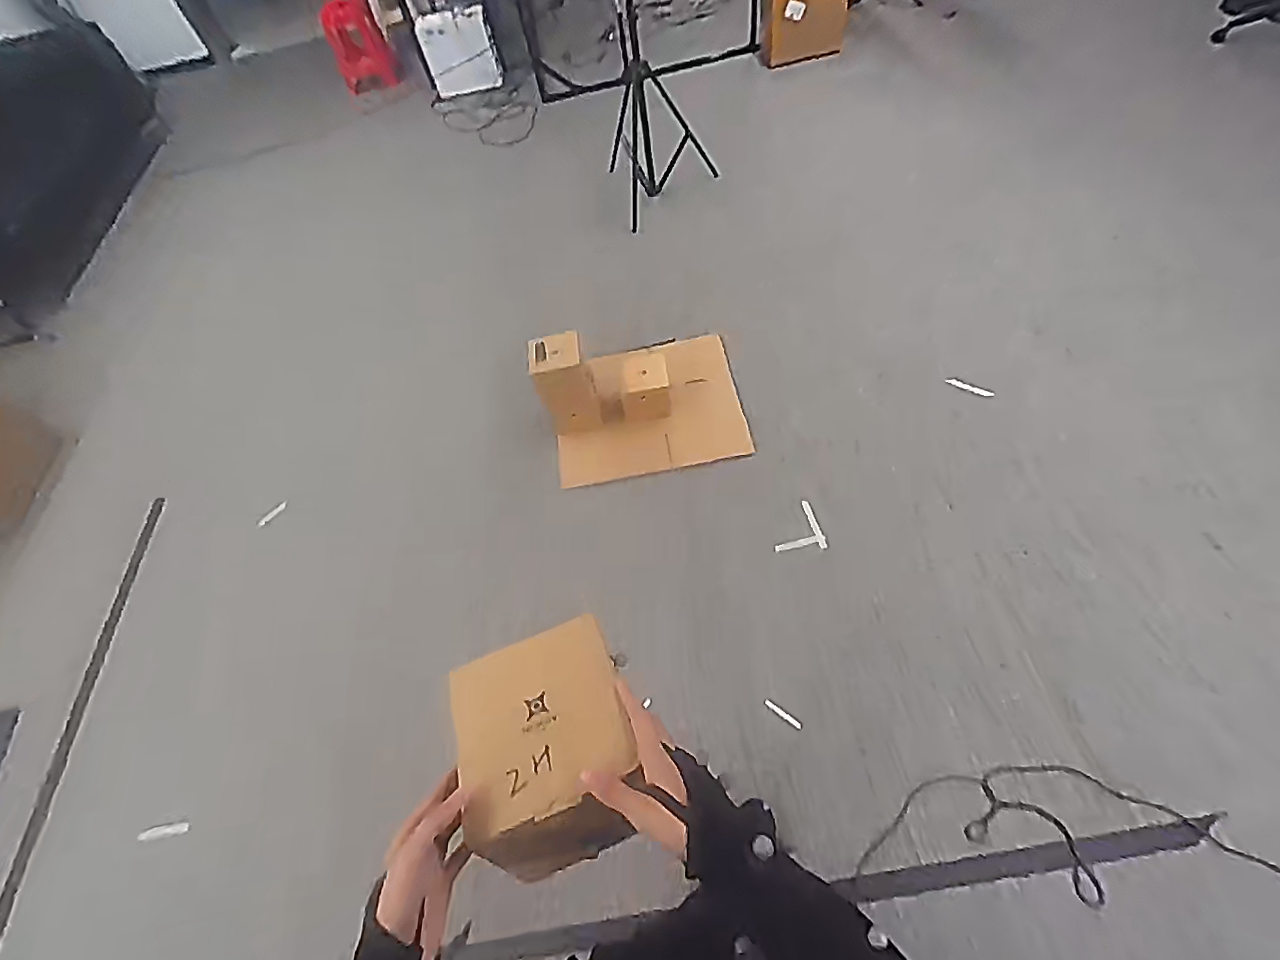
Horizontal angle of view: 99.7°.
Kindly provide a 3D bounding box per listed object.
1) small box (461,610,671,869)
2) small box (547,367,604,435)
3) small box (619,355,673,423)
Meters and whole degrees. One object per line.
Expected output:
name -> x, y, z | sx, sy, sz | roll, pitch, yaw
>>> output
small box -> -0.078, 0.281, 0.587 | 0.168, 0.176, 0.179 | -21, 45, -6
small box -> -0.237, -0.290, 2.017 | 0.179, 0.176, 0.168 | -12, 57, 4
small box -> 0.025, -0.332, 2.001 | 0.179, 0.176, 0.168 | -10, 57, 4
